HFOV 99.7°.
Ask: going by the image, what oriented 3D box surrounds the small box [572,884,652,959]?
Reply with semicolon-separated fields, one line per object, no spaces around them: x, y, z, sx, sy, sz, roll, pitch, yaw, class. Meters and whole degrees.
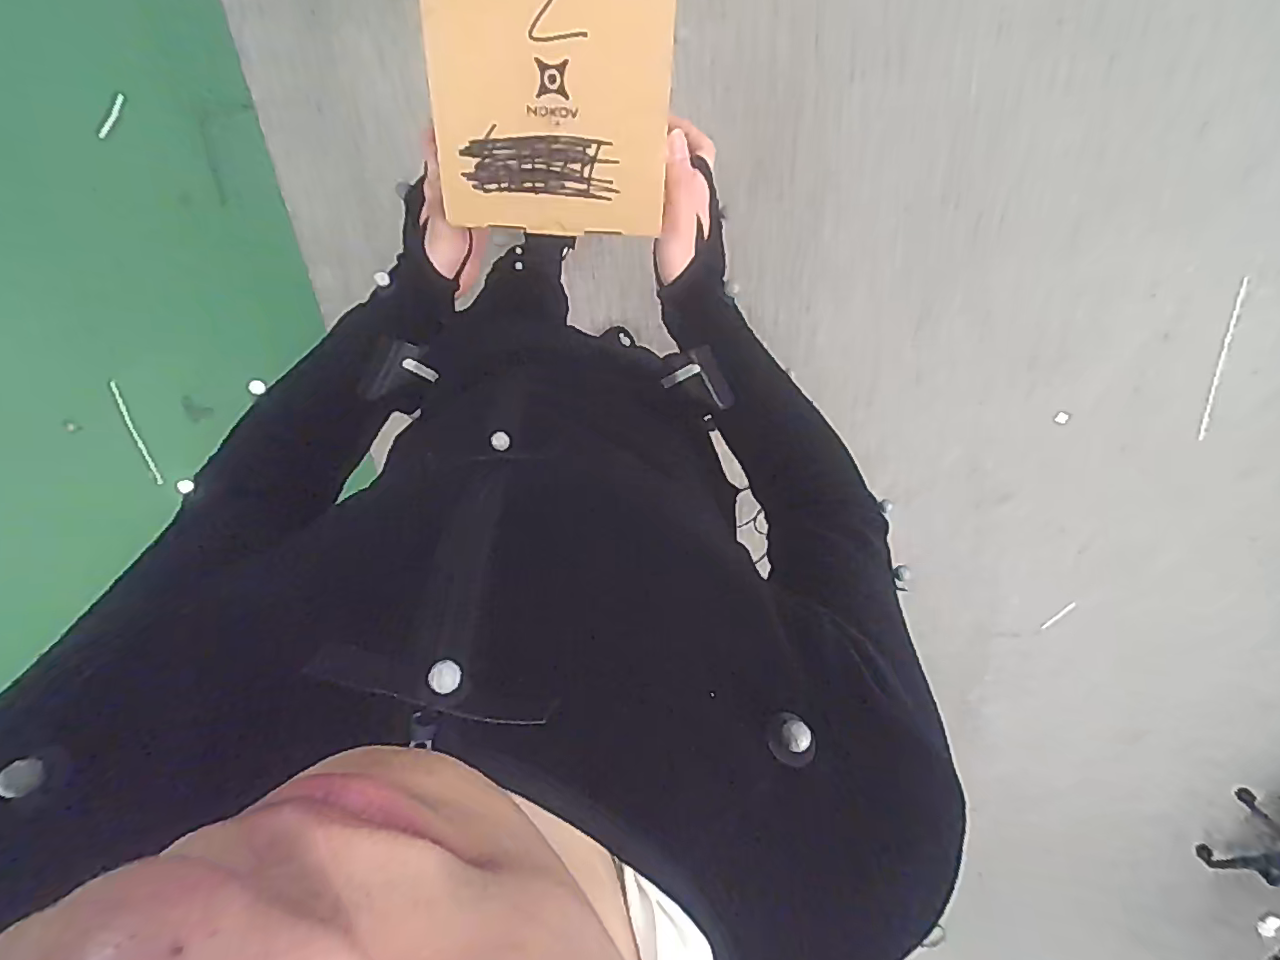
-0.059;1.093;1.272;0.168;0.176;0.179;-6;114;2;small box
